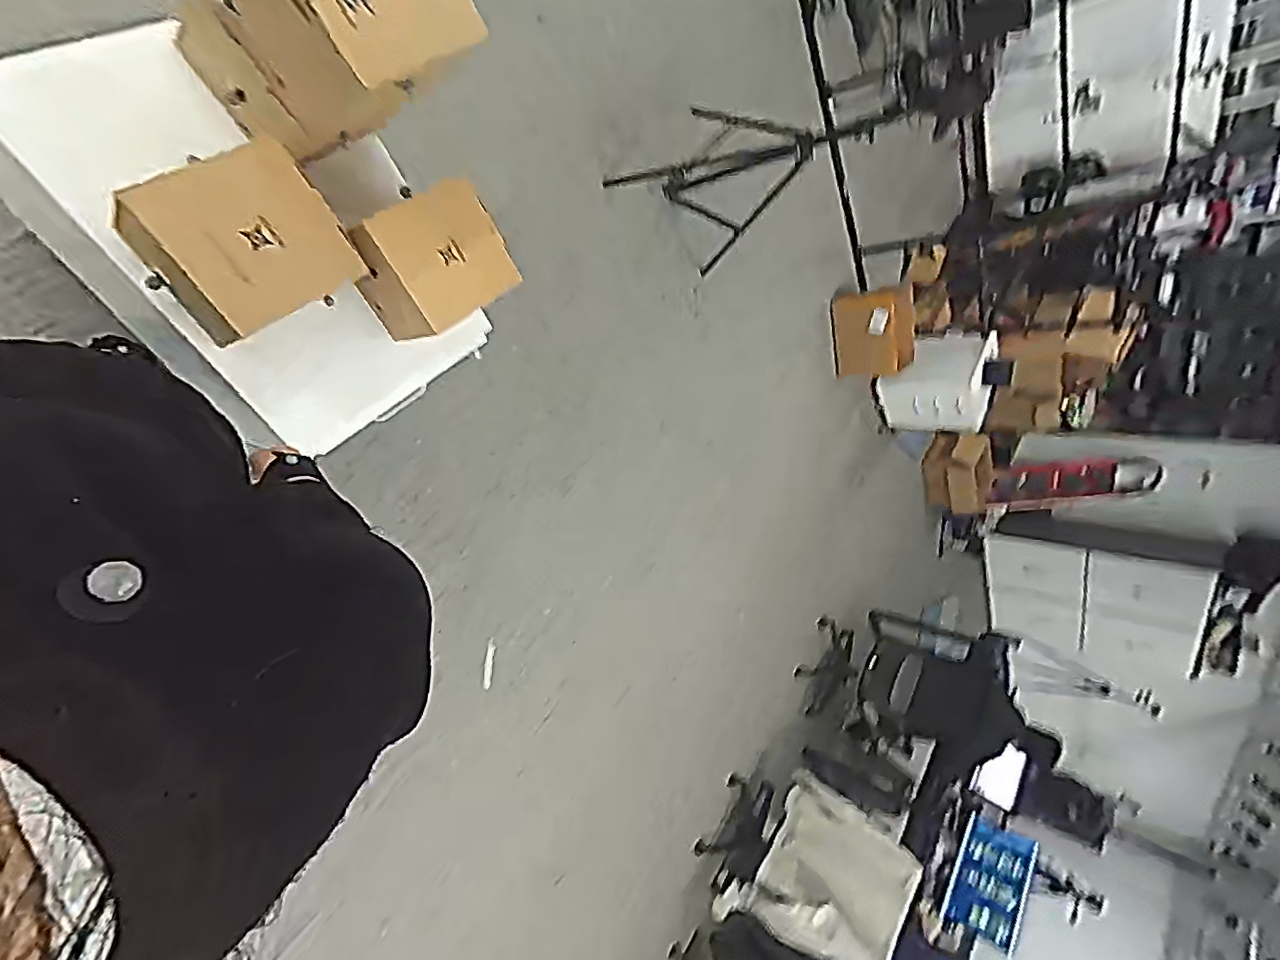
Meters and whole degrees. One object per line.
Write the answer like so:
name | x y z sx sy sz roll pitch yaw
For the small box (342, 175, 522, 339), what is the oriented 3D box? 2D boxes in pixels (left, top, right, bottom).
small box | -0.323 -0.330 0.827 0.179 0.176 0.168 -46 126 -29

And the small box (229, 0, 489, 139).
small box | -0.305 -0.501 0.577 0.179 0.176 0.168 -50 129 -27
